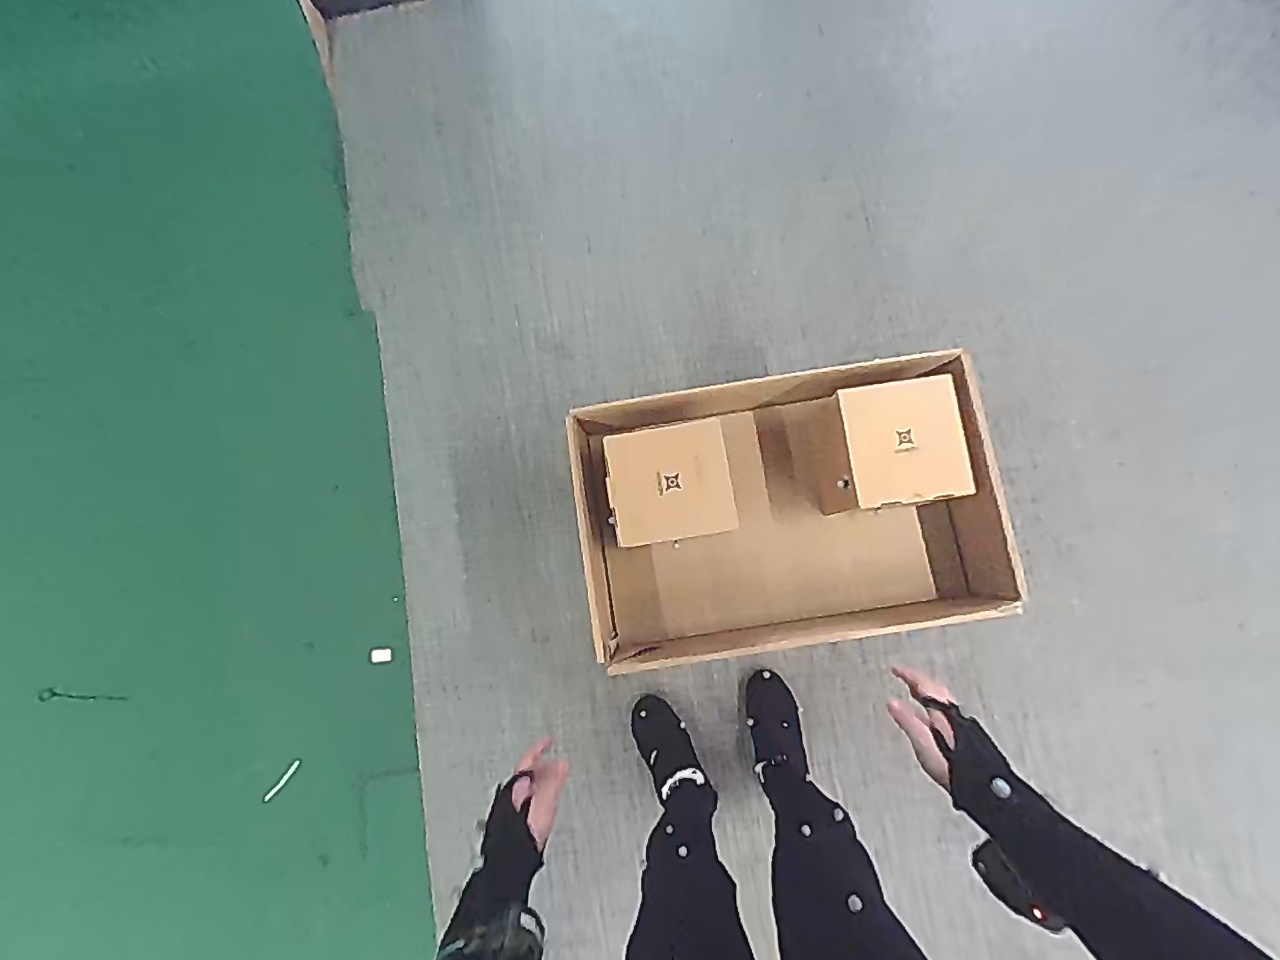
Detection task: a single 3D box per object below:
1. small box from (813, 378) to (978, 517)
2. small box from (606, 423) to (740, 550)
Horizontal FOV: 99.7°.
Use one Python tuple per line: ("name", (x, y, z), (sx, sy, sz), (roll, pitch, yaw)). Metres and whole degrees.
("small box", (0.383, -0.042, 0.844), (0.168, 0.176, 0.179), (-8, 83, 2))
("small box", (0.051, 0.019, 0.856), (0.179, 0.176, 0.168), (-9, 82, 2))
